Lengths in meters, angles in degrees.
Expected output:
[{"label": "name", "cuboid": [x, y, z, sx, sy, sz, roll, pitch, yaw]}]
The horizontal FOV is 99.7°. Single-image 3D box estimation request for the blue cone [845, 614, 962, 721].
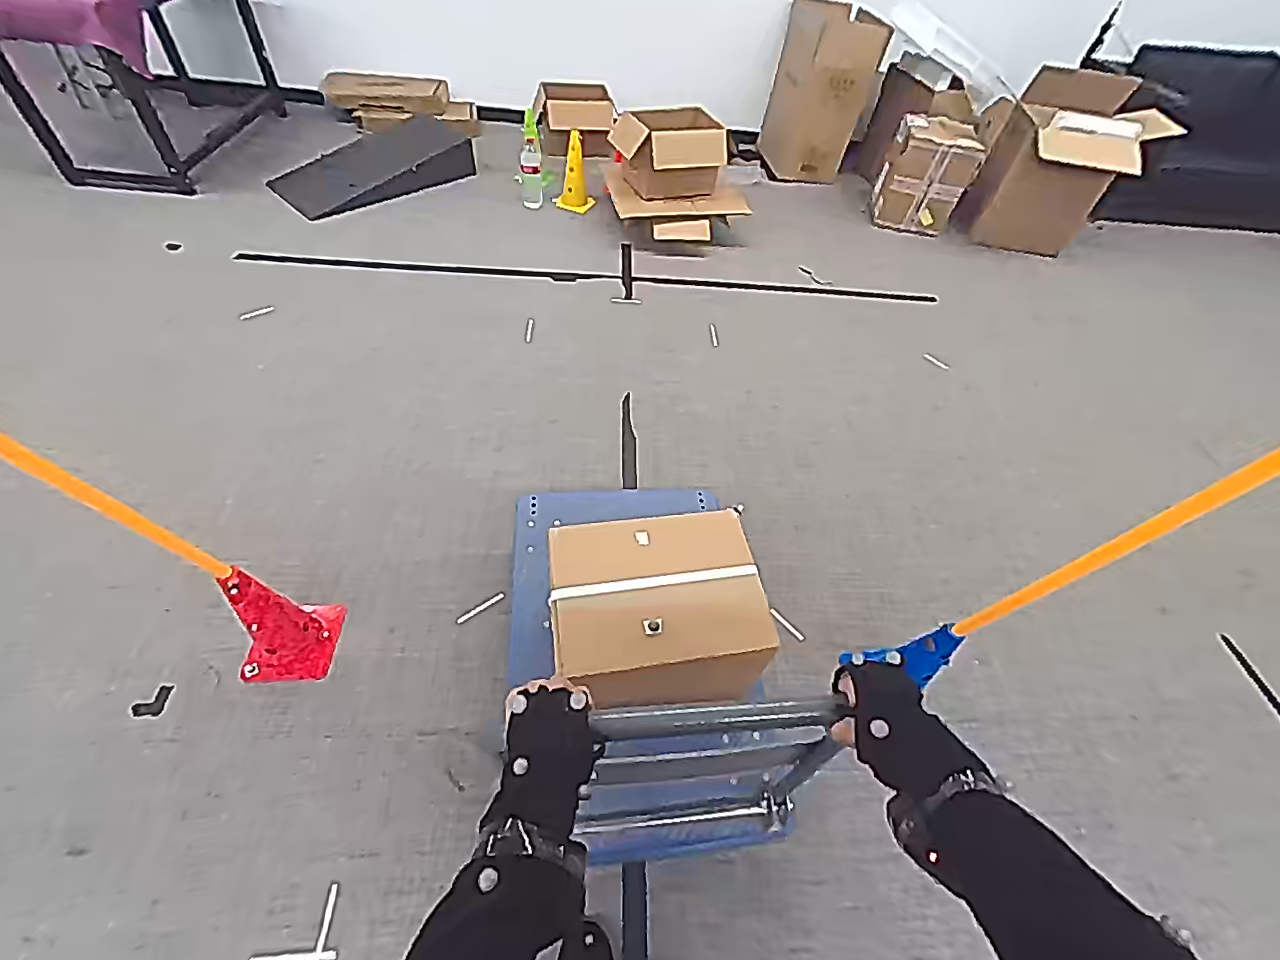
[{"label": "blue cone", "cuboid": [0.681, 0.440, 1.329, 0.193, 0.380, 0.192, -1, 50, -8]}]
